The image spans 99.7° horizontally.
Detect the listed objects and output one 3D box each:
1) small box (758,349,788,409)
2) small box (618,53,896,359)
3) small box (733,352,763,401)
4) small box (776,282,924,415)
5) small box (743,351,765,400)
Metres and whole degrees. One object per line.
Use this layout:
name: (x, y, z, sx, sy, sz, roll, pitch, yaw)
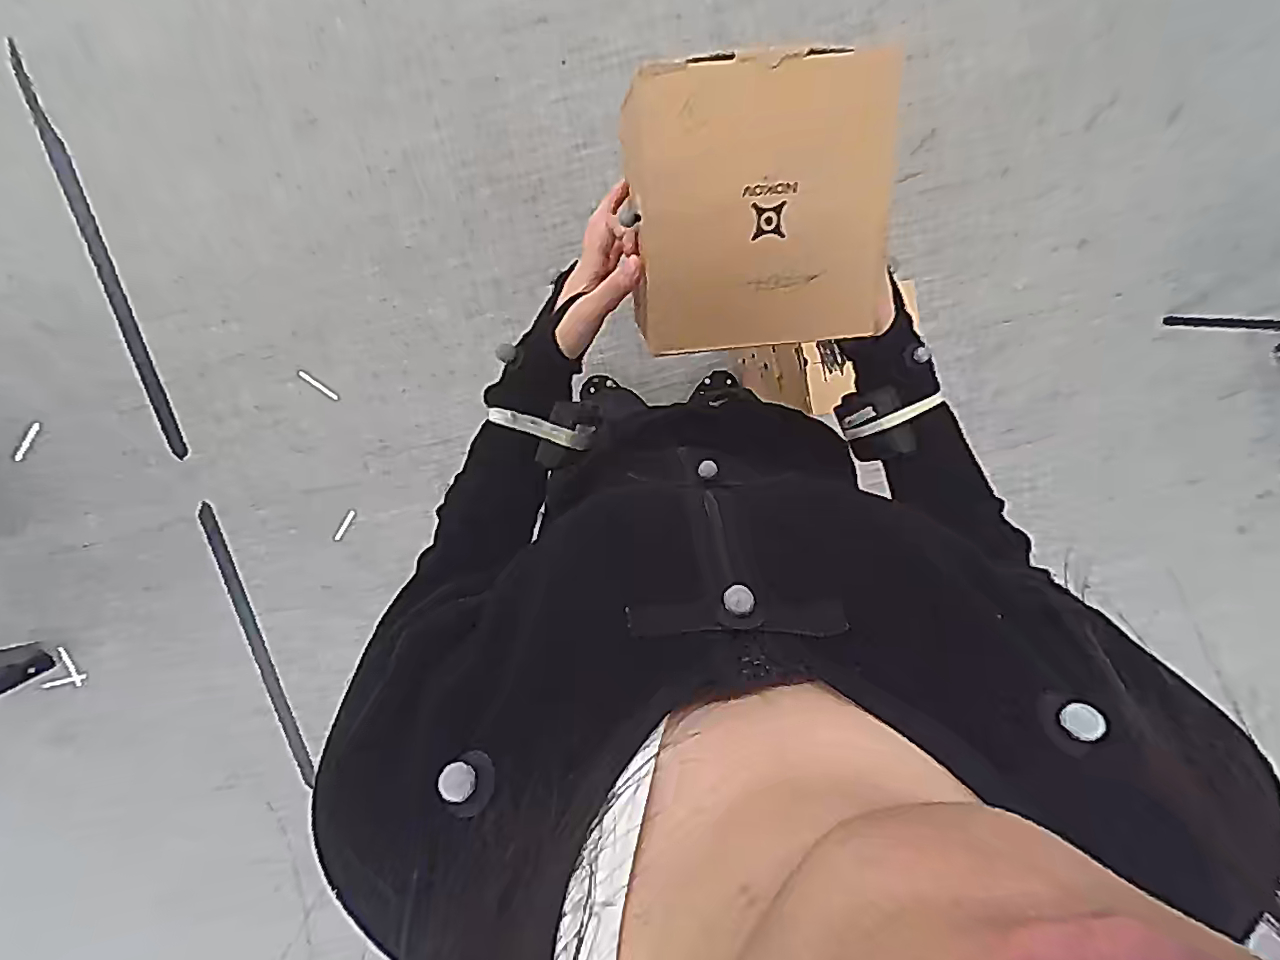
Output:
small box: (0.324, -0.236, 1.032, 0.179, 0.176, 0.168, -11, 102, 4)
small box: (0.074, -0.206, 0.430, 0.168, 0.176, 0.179, -6, 116, -3)
small box: (0.330, -0.307, 1.352, 0.168, 0.176, 0.179, -13, 101, 4)
small box: (0.323, -0.205, 0.870, 0.179, 0.176, 0.168, -12, 101, 2)
small box: (0.323, -0.278, 1.190, 0.168, 0.176, 0.179, -10, 101, 4)
